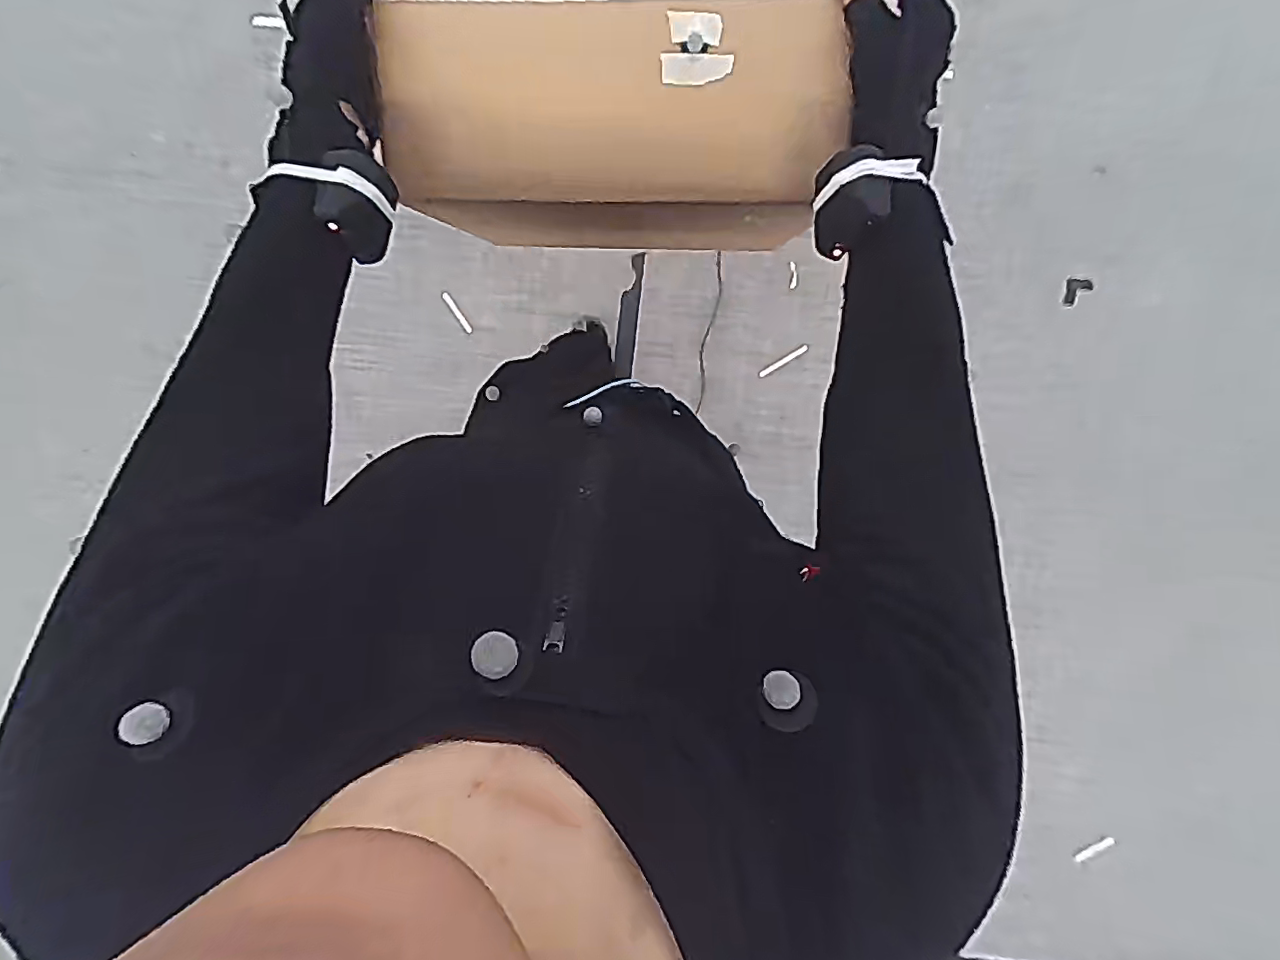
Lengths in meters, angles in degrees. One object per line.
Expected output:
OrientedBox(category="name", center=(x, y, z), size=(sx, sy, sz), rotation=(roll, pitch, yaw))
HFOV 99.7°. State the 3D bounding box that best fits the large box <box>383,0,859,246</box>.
OrientedBox(category="large box", center=(-0.014, -0.445, 0.588), size=(0.408, 0.320, 0.320), rotation=(1, 107, 2))
